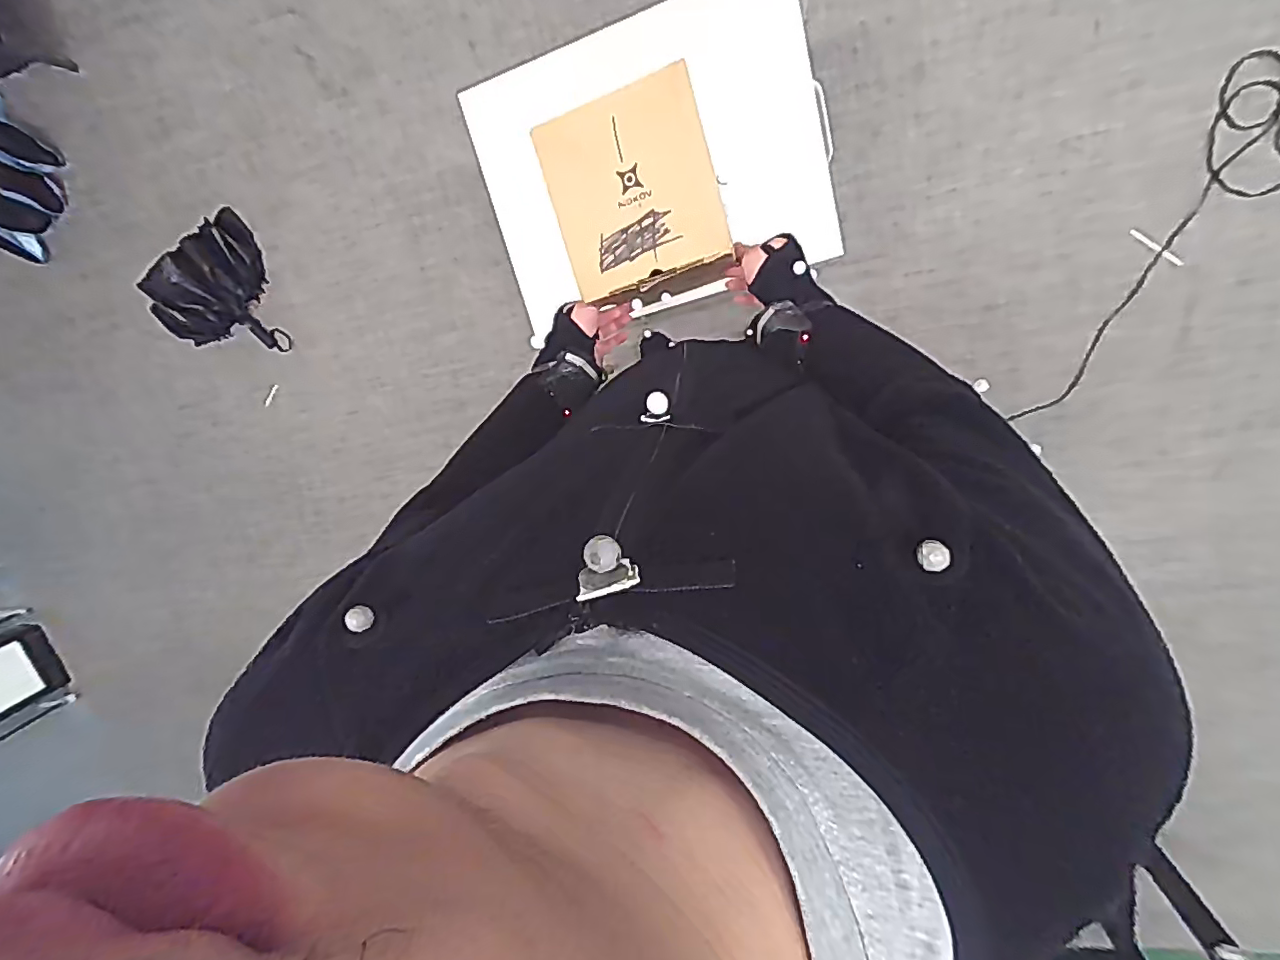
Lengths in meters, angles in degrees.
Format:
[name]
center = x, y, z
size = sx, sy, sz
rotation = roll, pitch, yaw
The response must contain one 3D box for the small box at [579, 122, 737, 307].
[small box]
center = 0.035, -0.356, 0.765
size = 0.168, 0.176, 0.179
rotation = -16, 103, 15
